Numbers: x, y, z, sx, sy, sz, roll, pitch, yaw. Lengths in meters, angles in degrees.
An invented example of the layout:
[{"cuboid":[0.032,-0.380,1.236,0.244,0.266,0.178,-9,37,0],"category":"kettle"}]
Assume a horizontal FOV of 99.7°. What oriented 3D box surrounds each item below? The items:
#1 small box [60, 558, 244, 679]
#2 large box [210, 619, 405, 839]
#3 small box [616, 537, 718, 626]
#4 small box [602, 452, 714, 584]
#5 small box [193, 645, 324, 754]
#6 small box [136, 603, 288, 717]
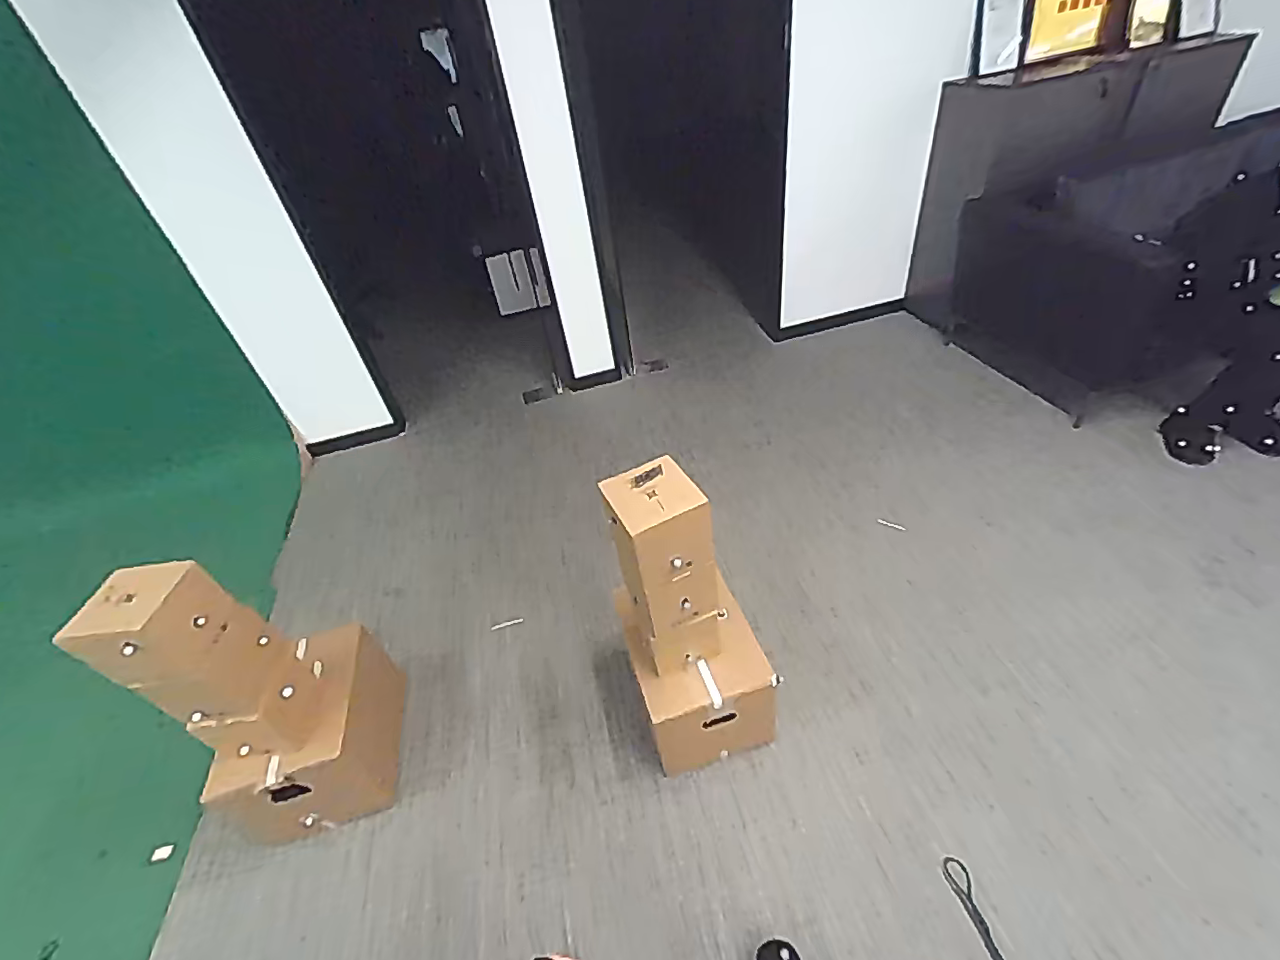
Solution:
[{"cuboid":[-0.953,0.279,1.080,0.179,0.176,0.168,-7,40,5],"category":"small box"},{"cuboid":[-0.867,0.673,1.485,0.320,0.320,0.408,-16,40,-7],"category":"large box"},{"cuboid":[0.064,0.202,1.214,0.168,0.176,0.179,-22,43,-13],"category":"small box"},{"cuboid":[0.038,0.078,1.107,0.168,0.176,0.179,-23,43,-13],"category":"small box"},{"cuboid":[-0.892,0.523,1.289,0.168,0.176,0.179,-9,41,2],"category":"small box"},{"cuboid":[-0.922,0.397,1.190,0.168,0.176,0.179,-8,41,5],"category":"small box"}]
